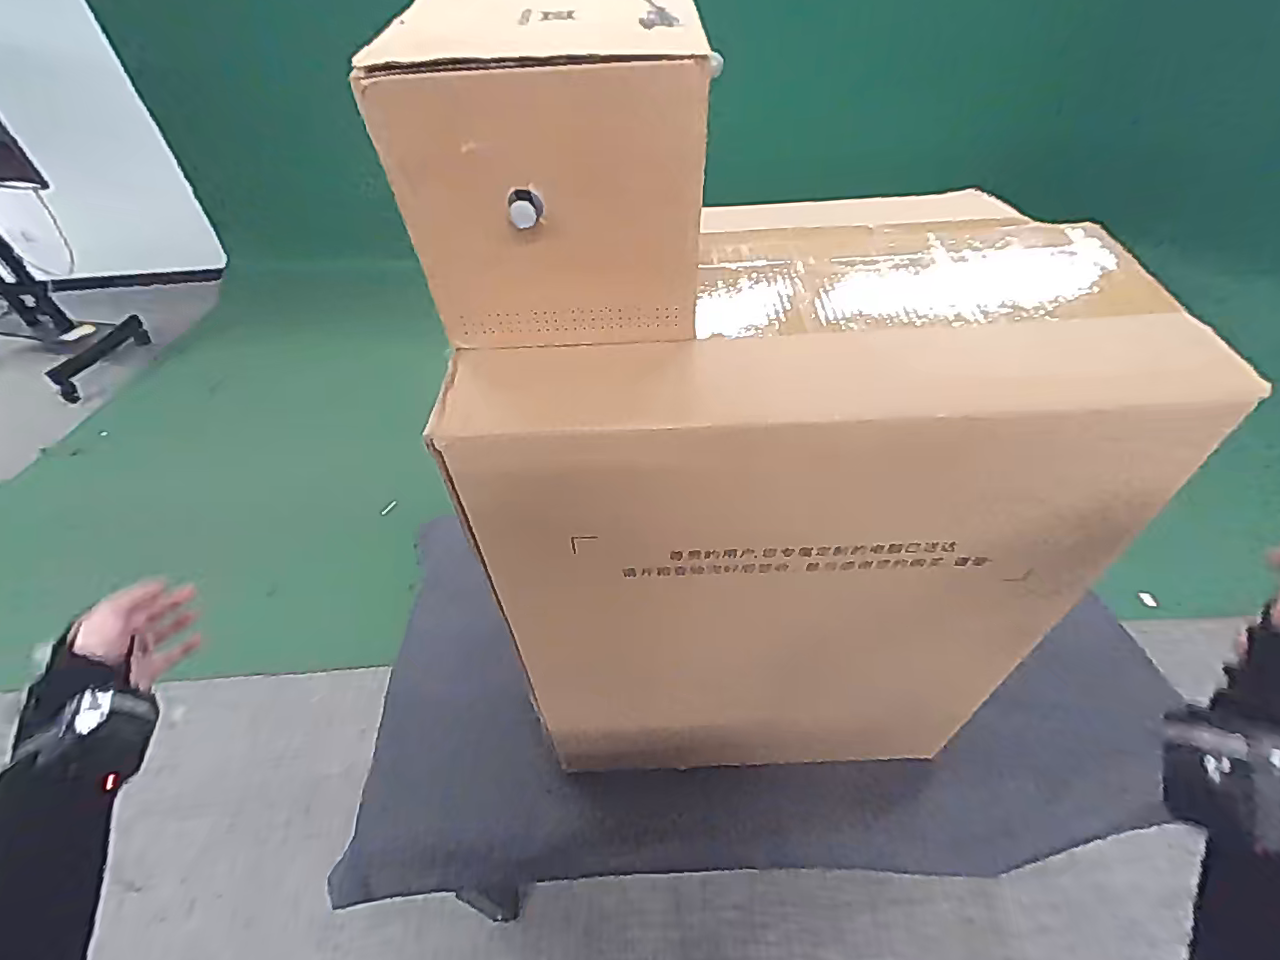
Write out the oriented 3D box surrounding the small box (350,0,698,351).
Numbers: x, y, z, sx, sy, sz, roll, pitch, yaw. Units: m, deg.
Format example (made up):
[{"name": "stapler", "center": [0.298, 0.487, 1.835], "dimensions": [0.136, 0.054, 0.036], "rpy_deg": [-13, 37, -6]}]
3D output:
[{"name": "small box", "center": [-0.054, -0.205, 0.374], "dimensions": [0.179, 0.176, 0.168], "rpy_deg": [-3, 52, 1]}]
